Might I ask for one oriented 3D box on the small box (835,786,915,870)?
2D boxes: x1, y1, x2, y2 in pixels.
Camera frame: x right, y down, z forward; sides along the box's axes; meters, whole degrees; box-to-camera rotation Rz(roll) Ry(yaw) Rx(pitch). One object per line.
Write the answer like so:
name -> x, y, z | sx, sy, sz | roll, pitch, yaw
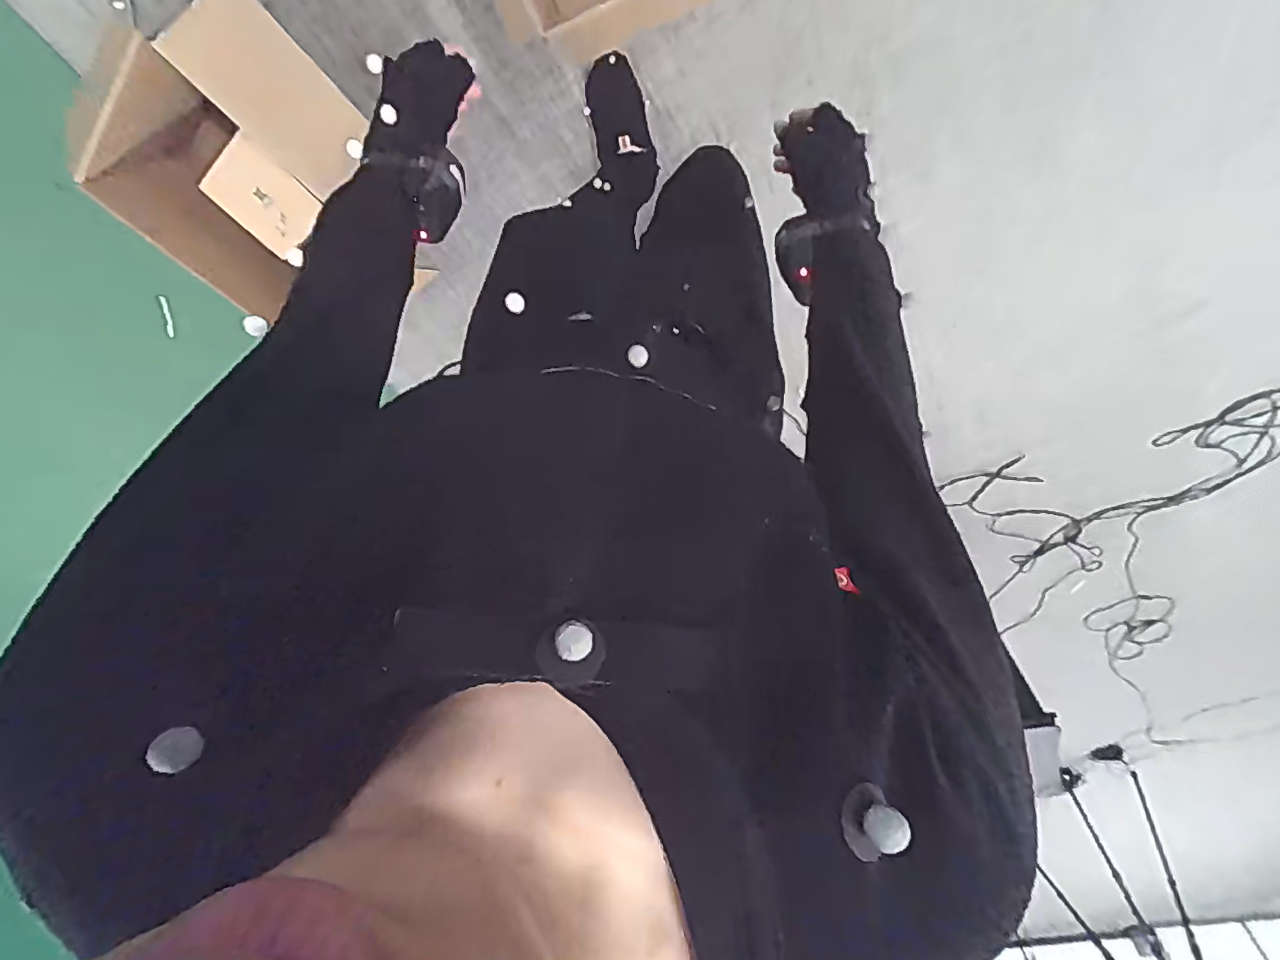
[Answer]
small box -> 0.686, 1.017, 1.587 | 0.168, 0.176, 0.179 | -18, 130, 16
